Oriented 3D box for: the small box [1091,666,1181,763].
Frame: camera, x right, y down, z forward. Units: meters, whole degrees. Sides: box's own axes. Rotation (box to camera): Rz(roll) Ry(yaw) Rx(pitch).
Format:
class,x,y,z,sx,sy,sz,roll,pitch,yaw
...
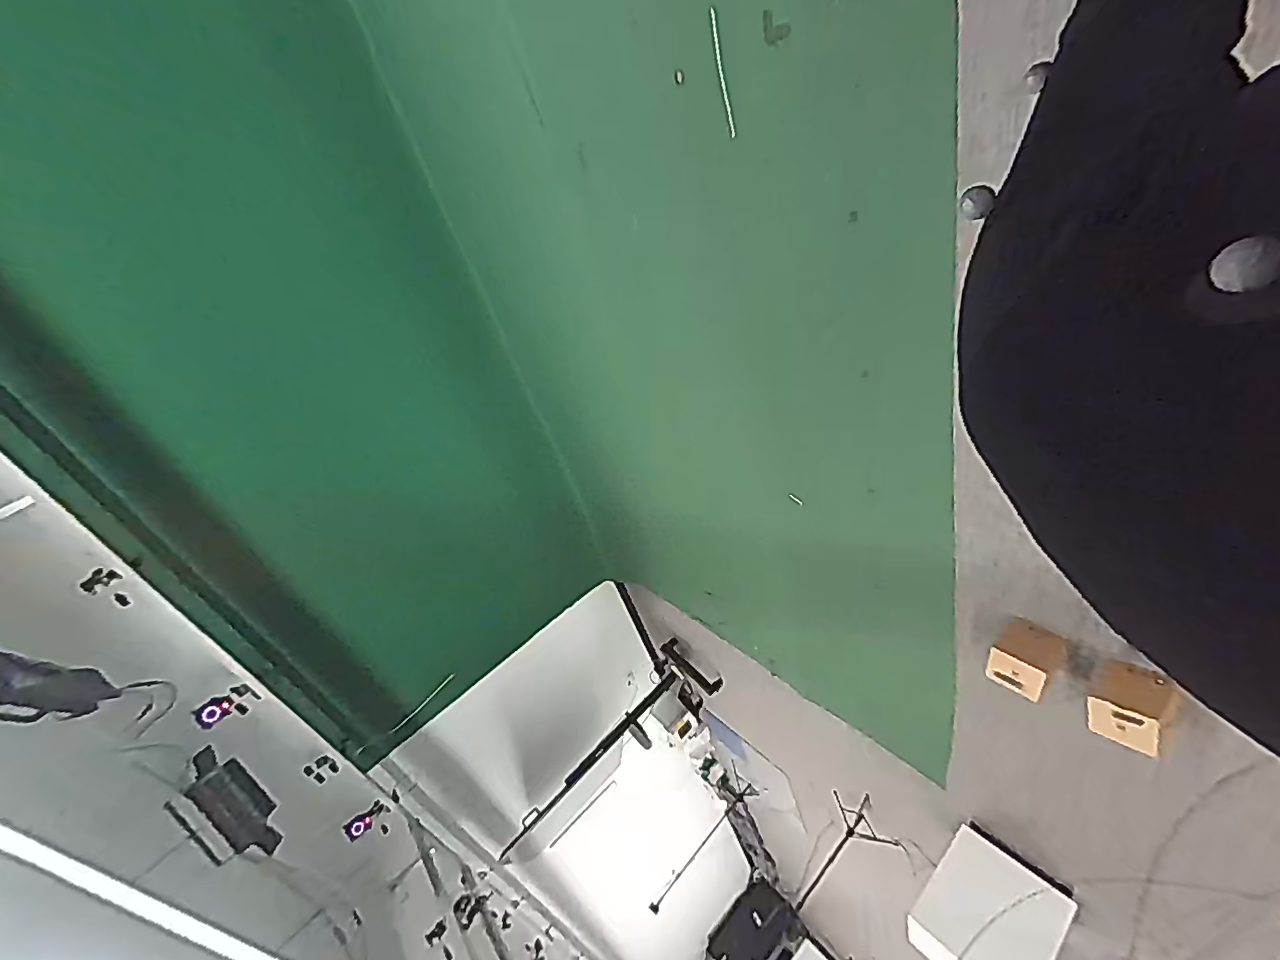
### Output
class,x,y,z,sx,sy,sz,roll,pitch,yaw
small box,1.497,0.699,1.635,0.168,0.176,0.179,15,136,55
